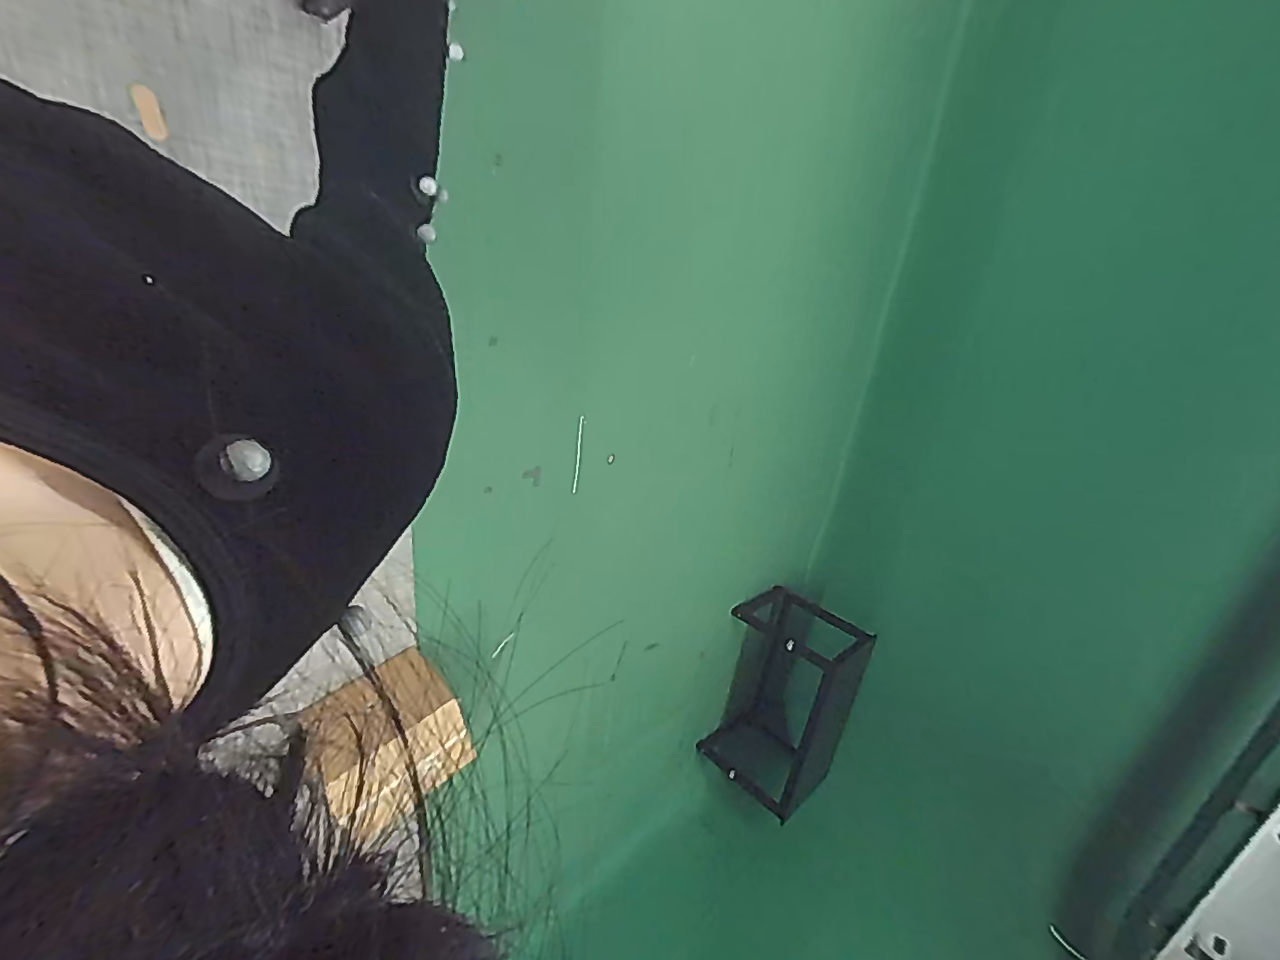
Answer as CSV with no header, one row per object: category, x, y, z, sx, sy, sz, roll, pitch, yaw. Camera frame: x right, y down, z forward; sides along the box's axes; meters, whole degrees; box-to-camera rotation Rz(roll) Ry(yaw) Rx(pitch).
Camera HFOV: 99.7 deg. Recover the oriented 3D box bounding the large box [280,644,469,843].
large box,-0.828,0.813,1.717,0.408,0.320,0.320,-30,131,-36
